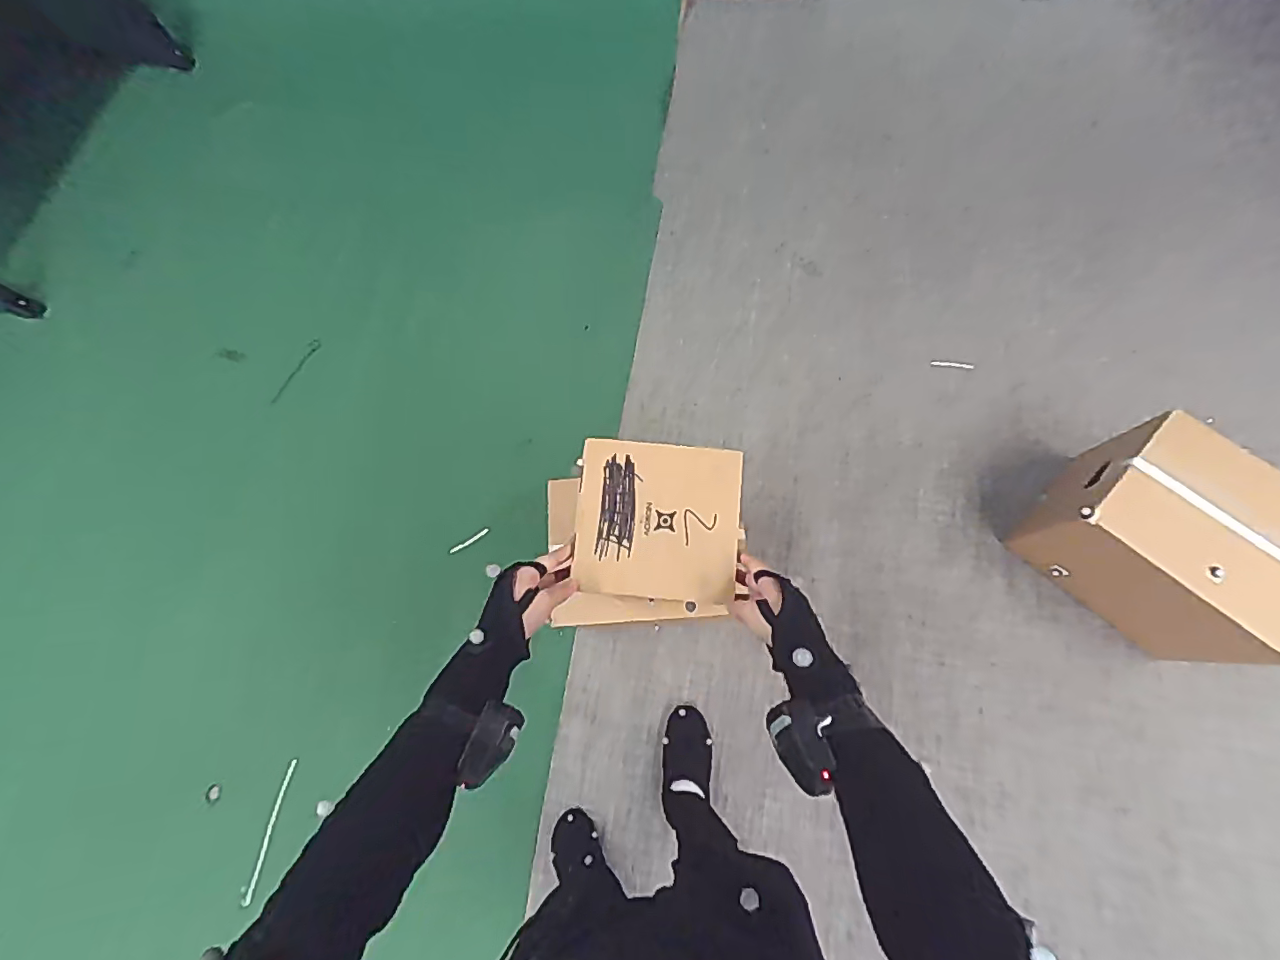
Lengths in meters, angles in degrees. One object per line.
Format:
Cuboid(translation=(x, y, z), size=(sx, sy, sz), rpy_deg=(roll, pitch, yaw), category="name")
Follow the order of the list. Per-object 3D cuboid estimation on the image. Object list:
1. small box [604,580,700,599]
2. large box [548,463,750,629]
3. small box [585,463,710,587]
Cuboid(translation=(0.030, 0.130, 1.009), size=(0.168, 0.176, 0.179), rpy_deg=(0, 74, 5), category="small box")
Cuboid(translation=(0.026, 0.172, 1.255), size=(0.408, 0.320, 0.320), rpy_deg=(-6, 72, 5), category="large box")
Cuboid(translation=(0.020, 0.078, 0.856), size=(0.179, 0.176, 0.168), rpy_deg=(1, 74, 5), category="small box")
